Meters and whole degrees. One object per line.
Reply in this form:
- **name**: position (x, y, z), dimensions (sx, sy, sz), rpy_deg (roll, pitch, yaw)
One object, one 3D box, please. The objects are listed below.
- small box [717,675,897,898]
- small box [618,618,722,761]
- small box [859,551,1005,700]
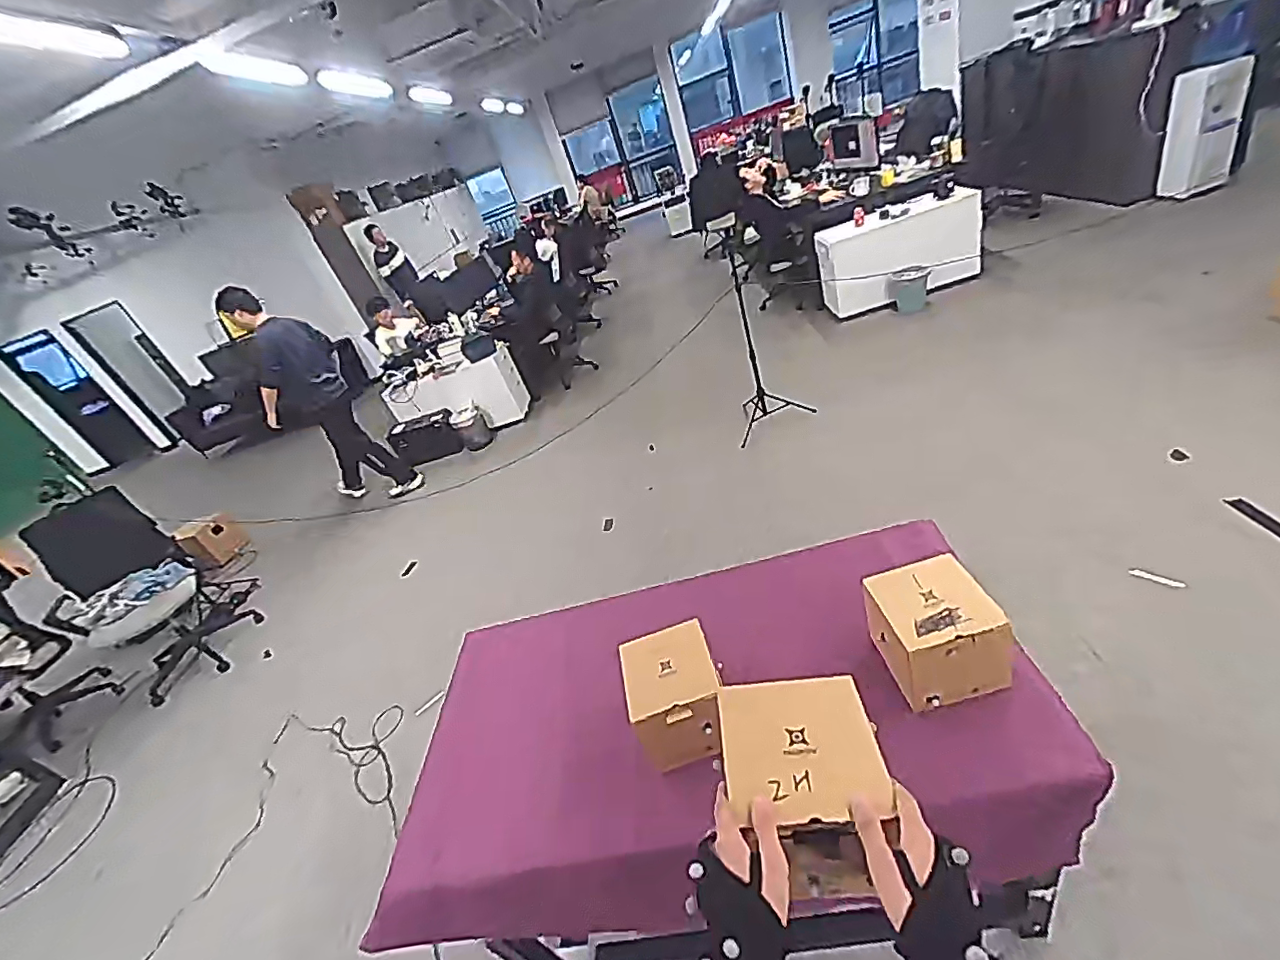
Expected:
- **small box**: position (0.185, 0.361, 0.642), dimensions (0.168, 0.176, 0.179), rpy_deg (-8, 35, 8)
- **small box**: position (0.071, 0.401, 1.022), dimensions (0.168, 0.176, 0.179), rpy_deg (-20, 31, 2)
- **small box**: position (0.512, 0.262, 0.957), dimensions (0.168, 0.176, 0.179), rpy_deg (-19, 31, 6)
